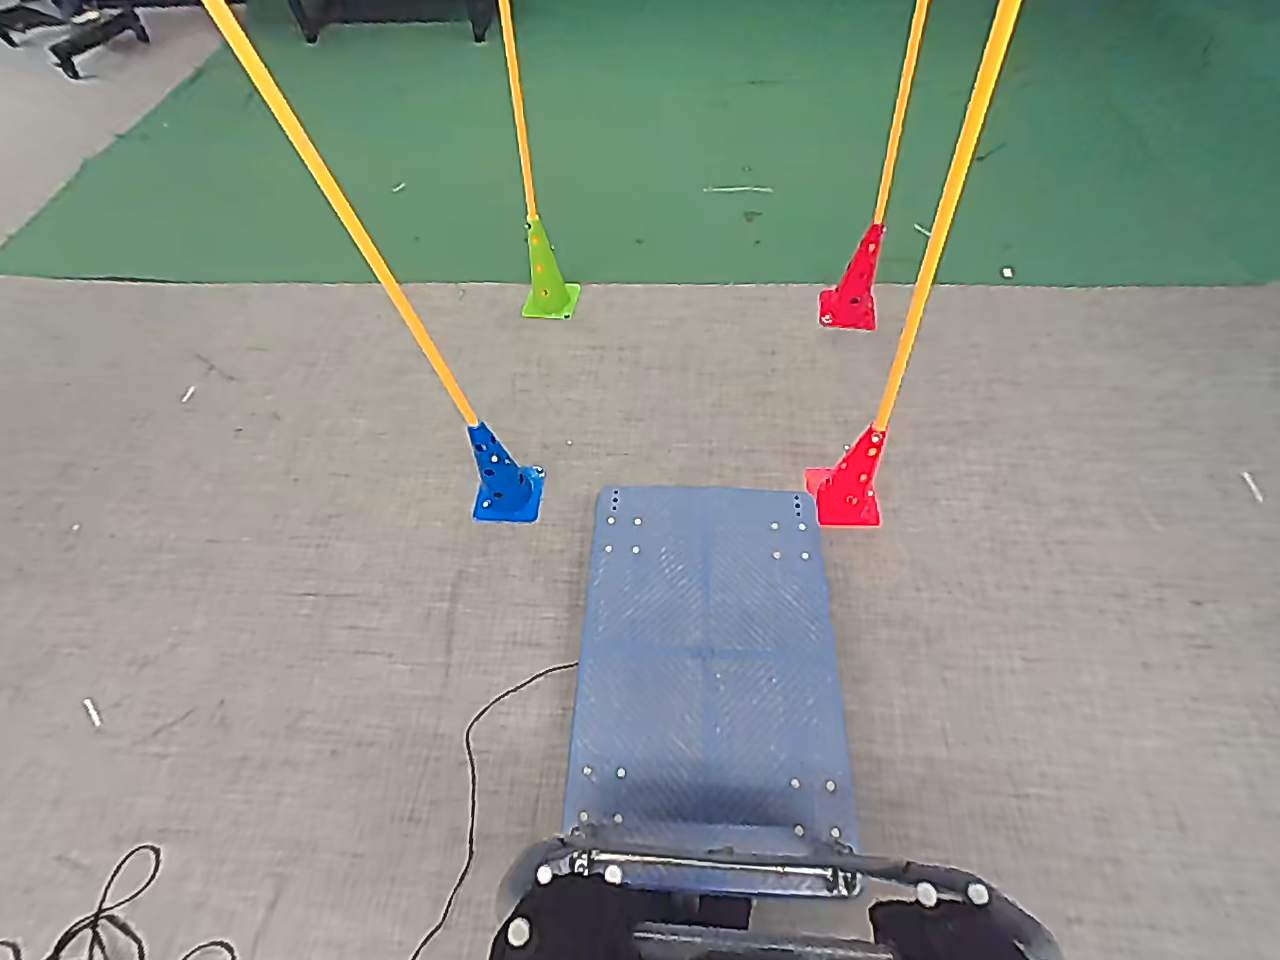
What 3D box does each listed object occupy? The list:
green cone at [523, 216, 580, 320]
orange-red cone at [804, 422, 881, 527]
[{"bbox_3d":[-0.359,-0.797,1.998,0.202,0.368,0.200,5,58,7],"label":"green cone"},{"bbox_3d":[0.590,-0.036,1.486,0.199,0.360,0.198,0,58,5],"label":"orange-red cone"}]
